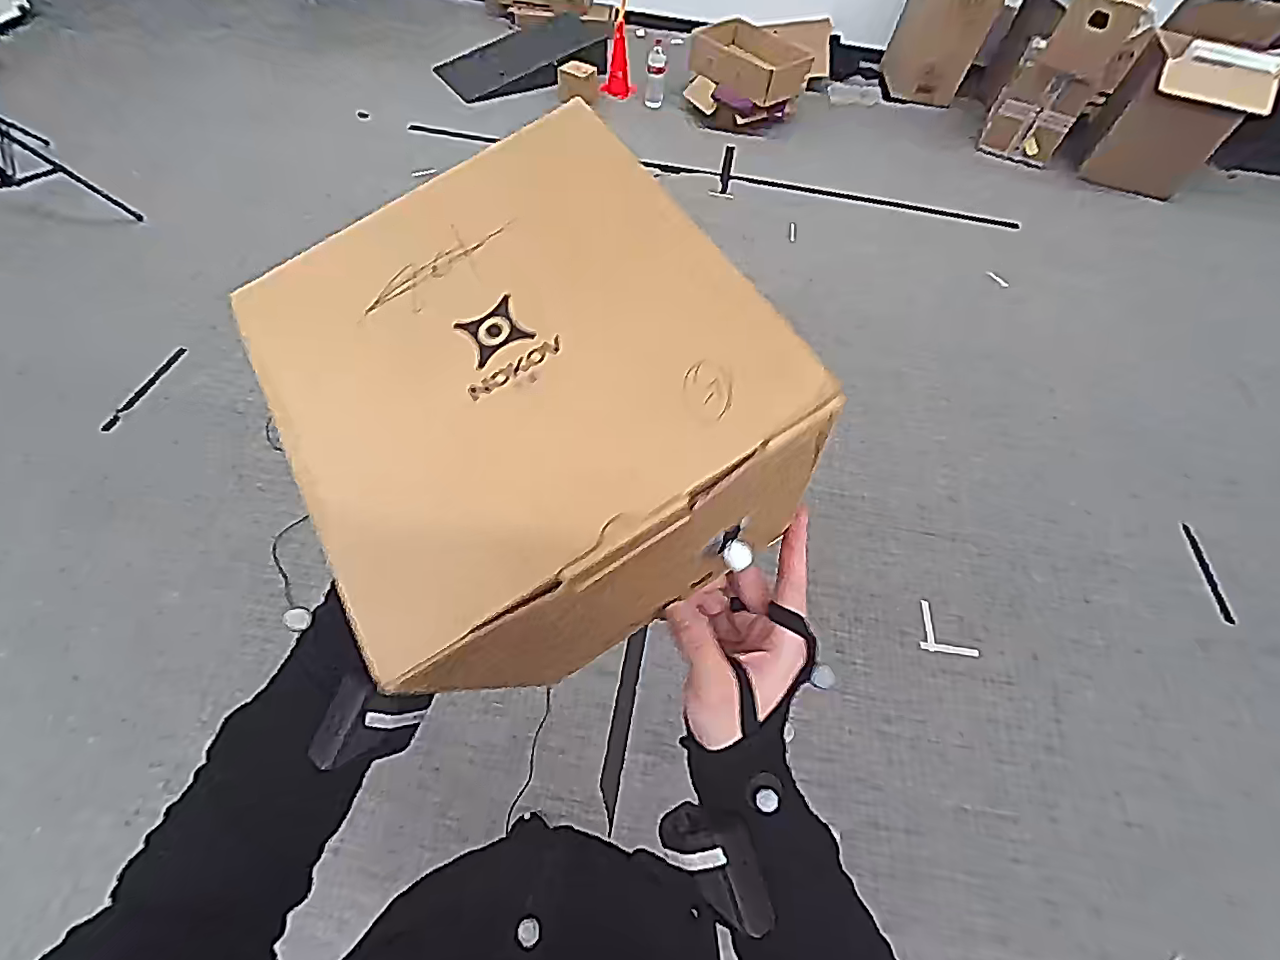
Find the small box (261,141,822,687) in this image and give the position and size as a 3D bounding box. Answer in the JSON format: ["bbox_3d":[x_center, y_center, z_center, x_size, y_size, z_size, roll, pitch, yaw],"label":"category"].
[{"bbox_3d":[-0.038,-0.016,0.279,0.168,0.176,0.179,-33,68,-6],"label":"small box"}]
